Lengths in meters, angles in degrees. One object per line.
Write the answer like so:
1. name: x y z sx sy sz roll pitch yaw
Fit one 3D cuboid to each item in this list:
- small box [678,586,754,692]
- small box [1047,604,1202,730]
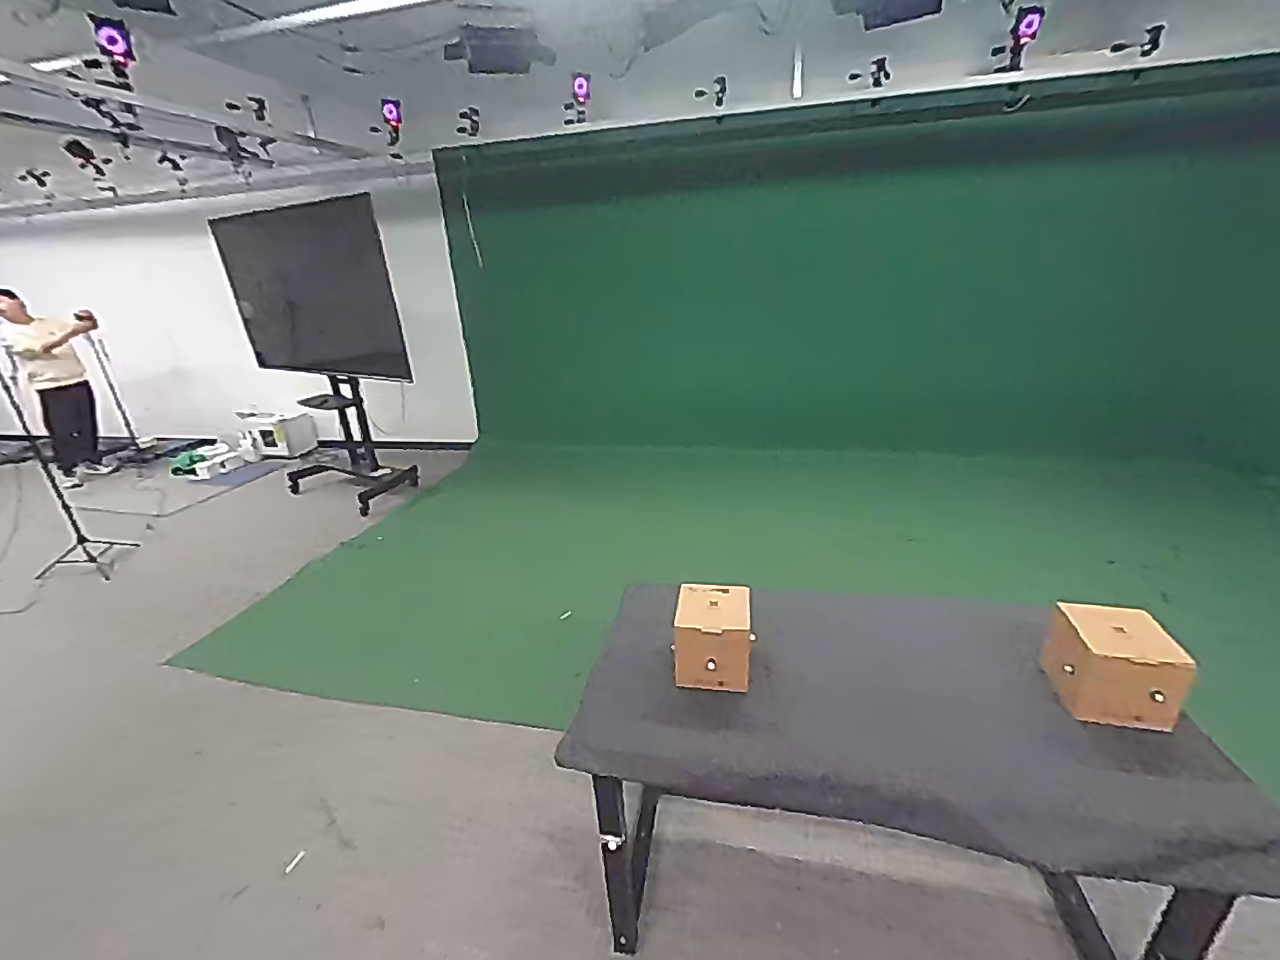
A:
1. small box: 0.183 0.371 1.267 0.168 0.176 0.179 1 22 11
2. small box: 0.975 0.379 1.107 0.168 0.176 0.179 3 21 15
